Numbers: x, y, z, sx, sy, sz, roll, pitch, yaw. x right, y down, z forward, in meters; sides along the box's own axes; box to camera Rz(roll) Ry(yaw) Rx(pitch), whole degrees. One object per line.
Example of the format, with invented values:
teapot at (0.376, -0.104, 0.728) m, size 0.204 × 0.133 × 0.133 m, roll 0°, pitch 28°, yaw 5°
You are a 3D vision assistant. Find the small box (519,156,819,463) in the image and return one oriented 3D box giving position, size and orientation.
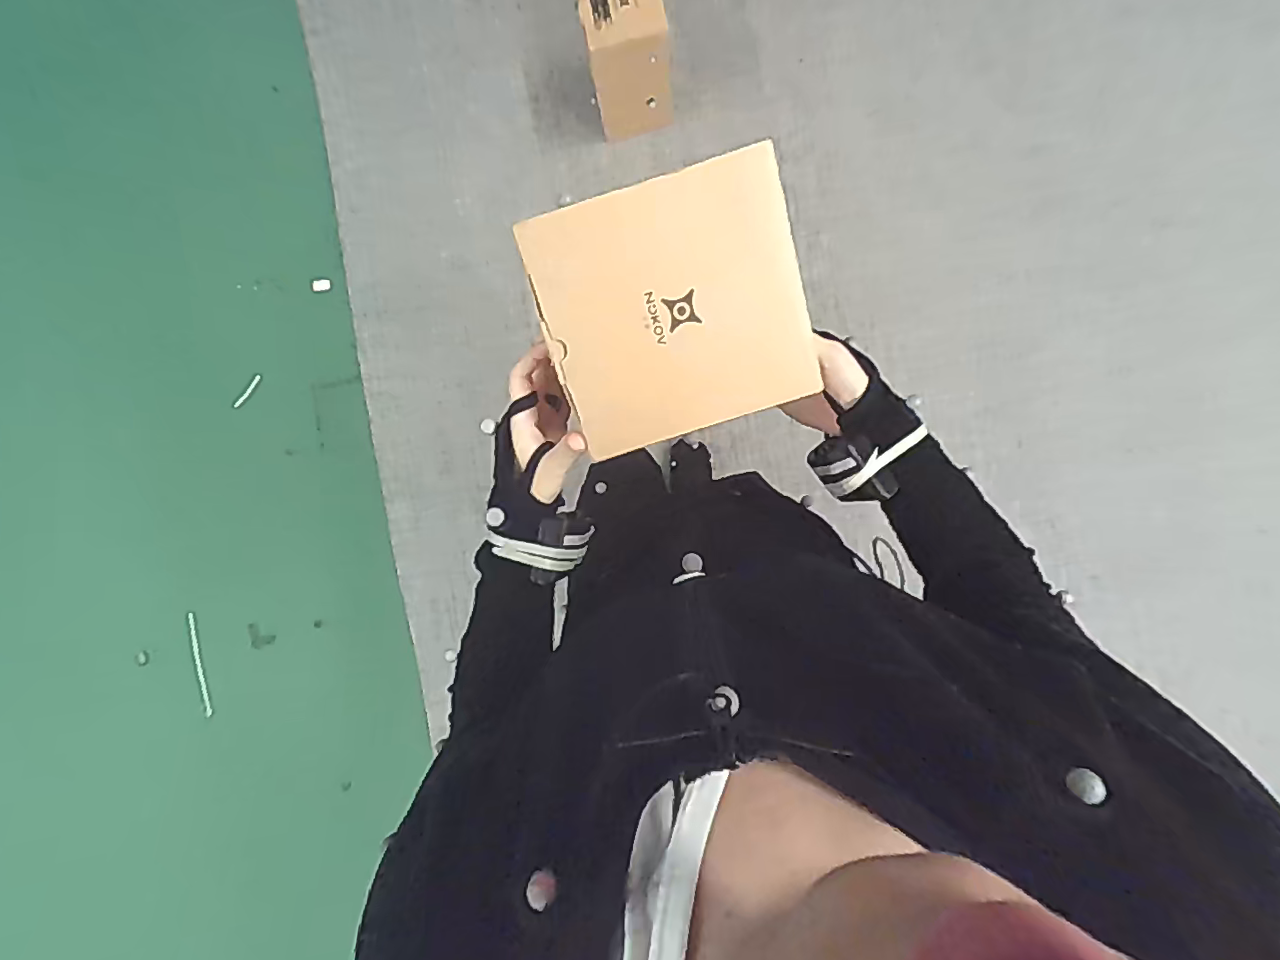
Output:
small box at (0.021, -0.133, 0.447) m, size 0.179 × 0.176 × 0.168 m, roll -17°, pitch 106°, yaw 3°
